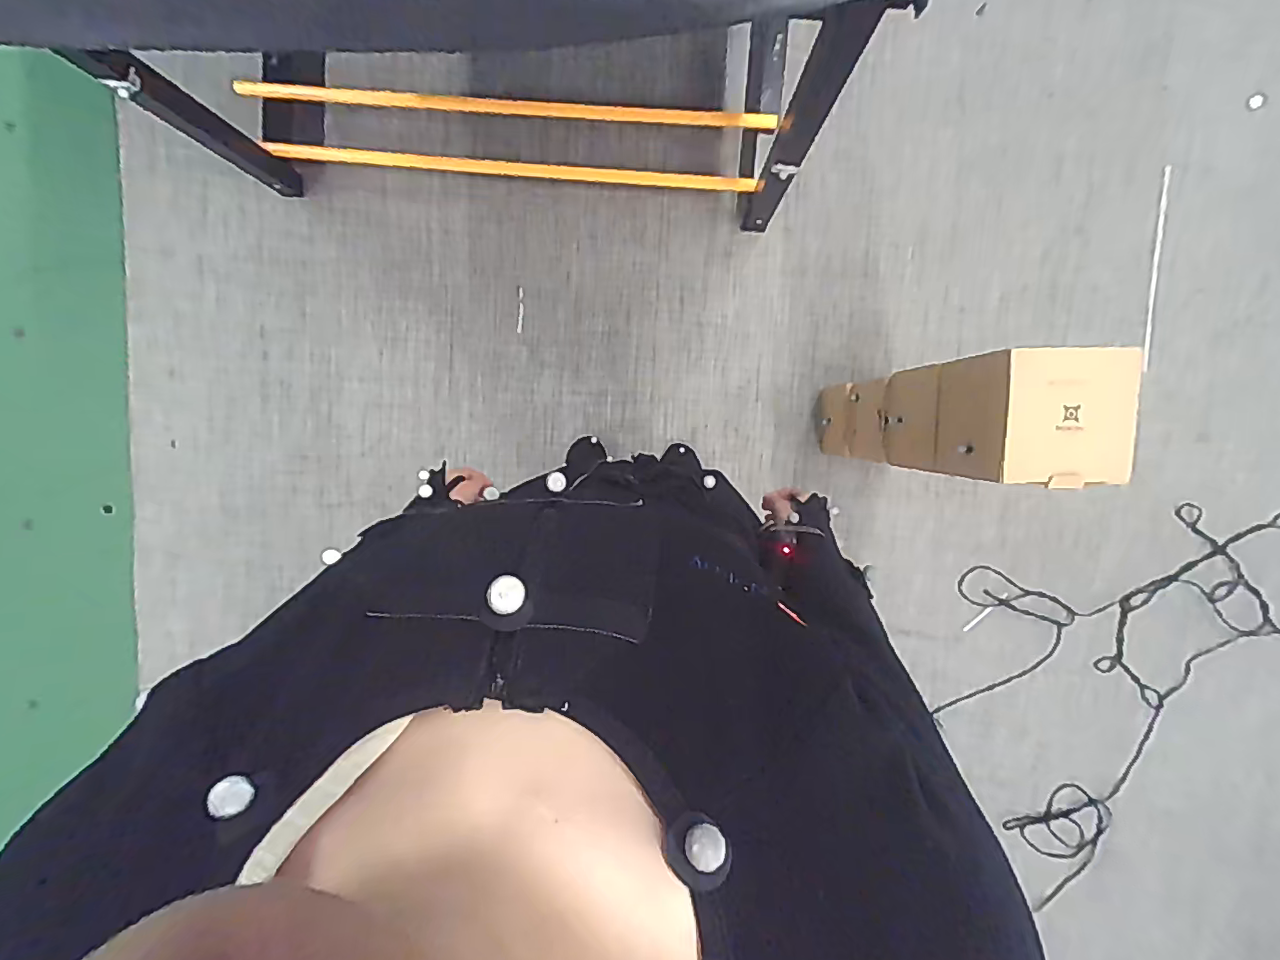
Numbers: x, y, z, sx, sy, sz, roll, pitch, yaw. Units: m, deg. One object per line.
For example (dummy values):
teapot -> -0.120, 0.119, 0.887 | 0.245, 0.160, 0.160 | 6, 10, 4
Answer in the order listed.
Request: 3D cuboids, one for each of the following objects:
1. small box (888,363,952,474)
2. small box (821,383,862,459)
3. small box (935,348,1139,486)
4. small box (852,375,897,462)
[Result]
small box -> 0.544, -0.106, 0.927 | 0.168, 0.176, 0.179 | -1, 96, 1
small box -> 0.534, -0.137, 1.254 | 0.179, 0.176, 0.168 | -2, 95, 2
small box -> 0.543, -0.088, 0.765 | 0.168, 0.176, 0.179 | -1, 95, 1
small box -> 0.543, -0.121, 1.090 | 0.179, 0.176, 0.168 | -1, 96, 0
